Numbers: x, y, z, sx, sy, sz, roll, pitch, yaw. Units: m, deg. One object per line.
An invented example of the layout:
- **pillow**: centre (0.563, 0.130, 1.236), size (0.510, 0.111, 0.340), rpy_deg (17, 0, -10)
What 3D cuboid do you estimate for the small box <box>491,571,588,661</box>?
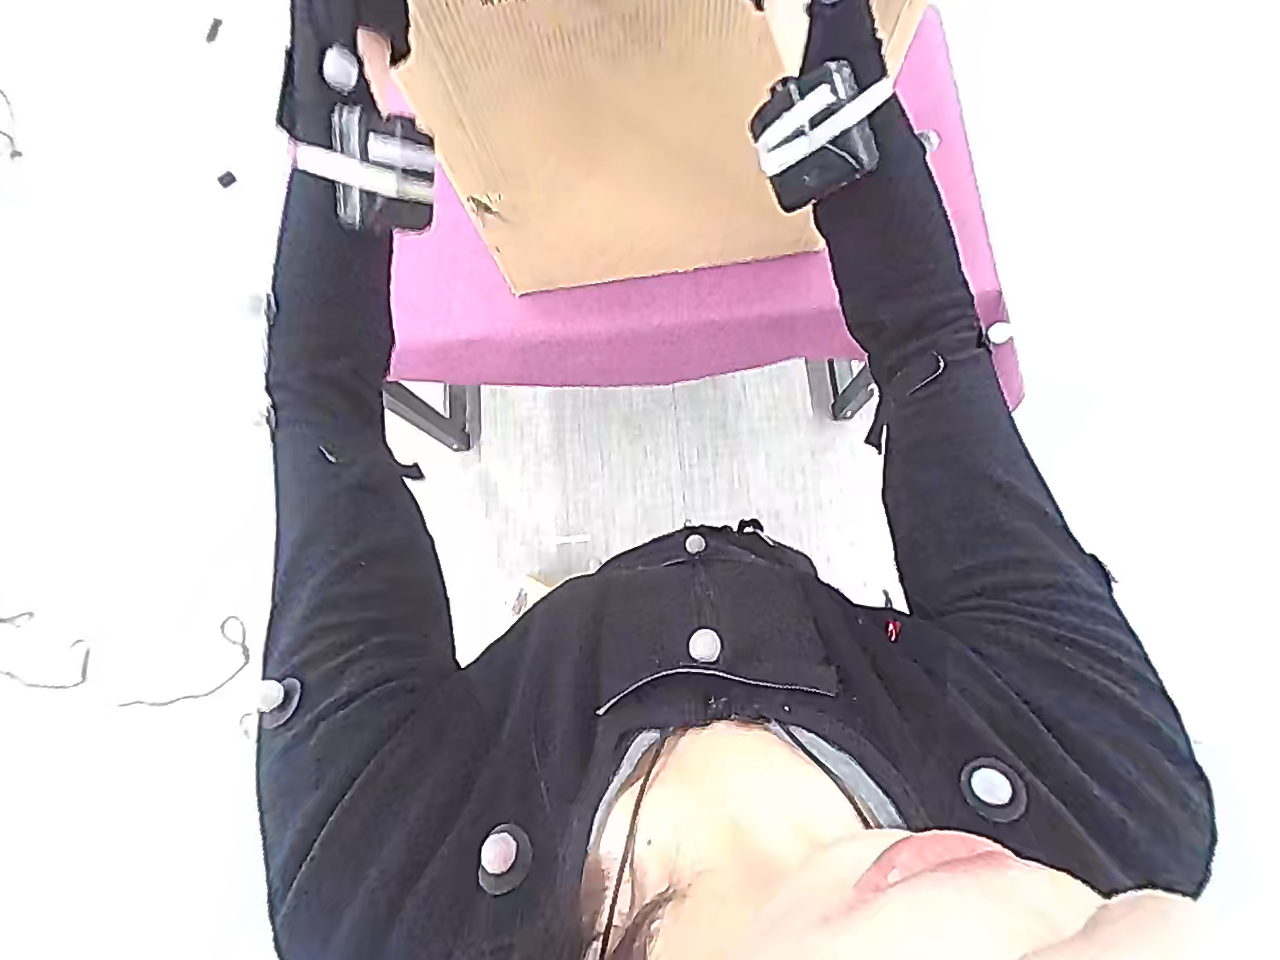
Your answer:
- **small box**: centre (-0.259, 0.358, 1.432), size (0.179, 0.176, 0.168), rpy_deg (26, 81, 8)
